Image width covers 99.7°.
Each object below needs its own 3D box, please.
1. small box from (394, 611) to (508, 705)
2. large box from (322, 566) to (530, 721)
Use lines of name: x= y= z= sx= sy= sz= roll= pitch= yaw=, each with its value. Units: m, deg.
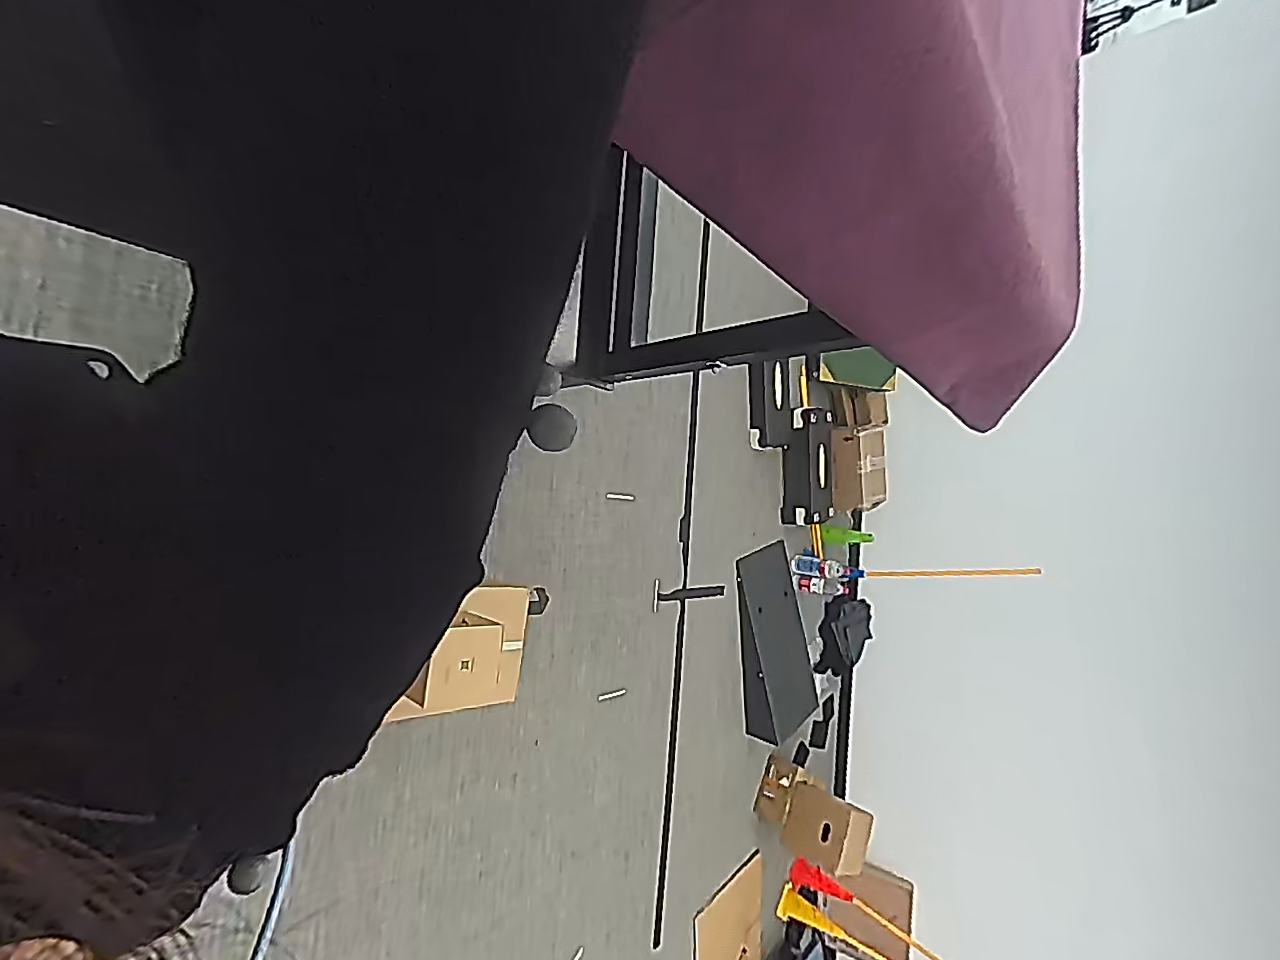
small box: x=-0.429 y=0.394 z=1.230 sx=0.179 sy=0.176 sz=0.168 roll=13 pitch=81 yaw=-46
large box: x=-0.565 y=0.403 z=1.444 sx=0.408 sy=0.320 sz=0.320 roll=13 pitch=84 yaw=-47
